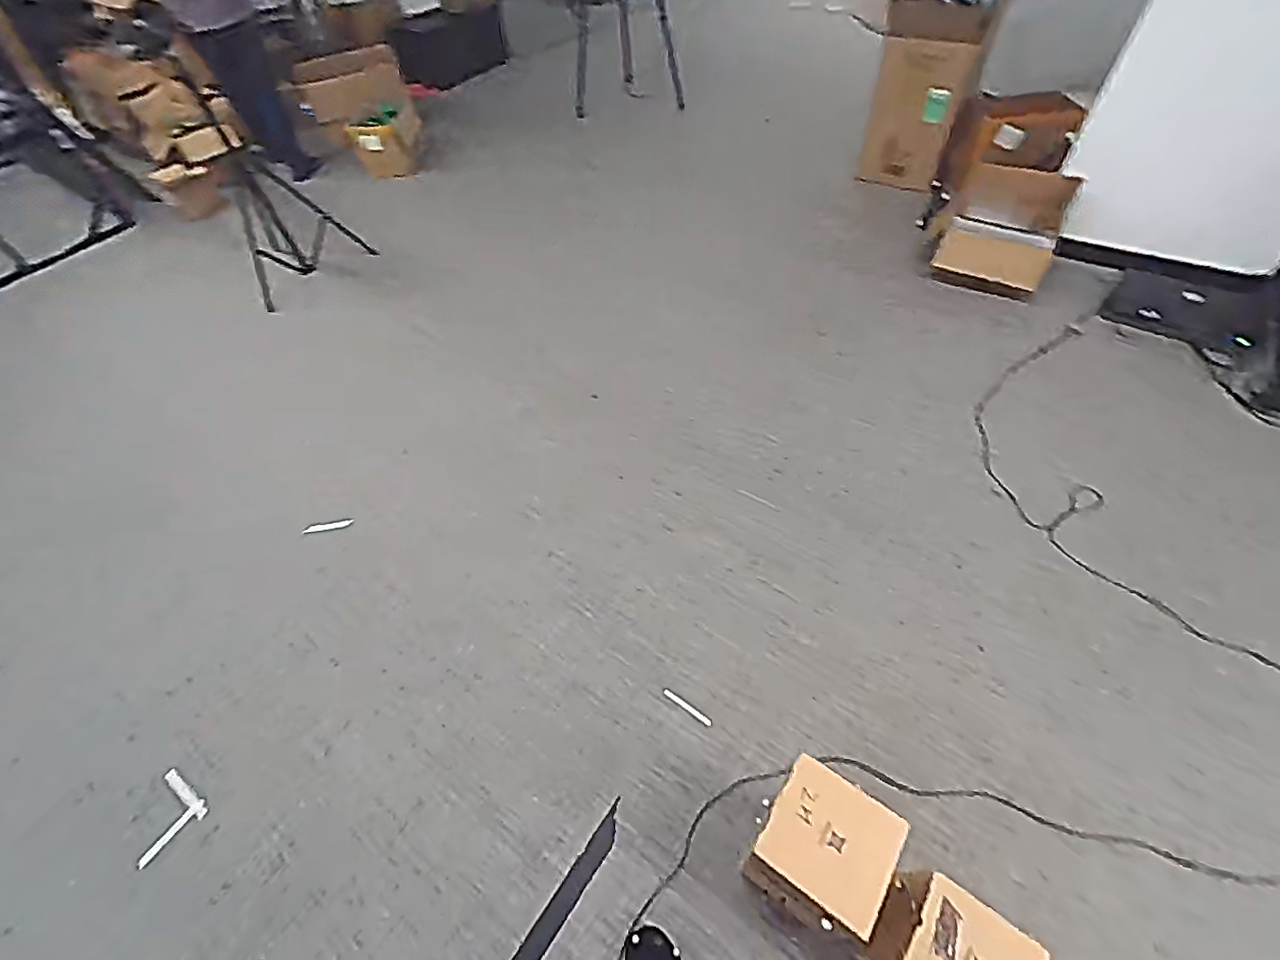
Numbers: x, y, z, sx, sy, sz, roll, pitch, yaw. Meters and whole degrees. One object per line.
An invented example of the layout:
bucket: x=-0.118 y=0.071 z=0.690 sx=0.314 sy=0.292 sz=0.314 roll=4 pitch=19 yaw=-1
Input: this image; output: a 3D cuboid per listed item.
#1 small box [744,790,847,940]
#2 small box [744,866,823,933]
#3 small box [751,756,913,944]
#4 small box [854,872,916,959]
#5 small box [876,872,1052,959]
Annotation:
small box: x=0.307 y=0.681 z=0.984 sx=0.179 sy=0.176 sz=0.168 roll=27 pitch=60 yaw=24
small box: x=0.324 y=0.779 z=1.115 sx=0.168 sy=0.176 sz=0.179 roll=28 pitch=61 yaw=25
small box: x=0.293 y=0.578 z=0.855 sx=0.179 sy=0.176 sz=0.168 roll=27 pitch=60 yaw=26
small box: x=0.529 y=0.882 z=1.015 sx=0.179 sy=0.176 sz=0.168 roll=31 pitch=61 yaw=24
small box: x=0.515 y=0.786 z=0.883 sx=0.179 sy=0.176 sz=0.168 roll=30 pitch=61 yaw=23
